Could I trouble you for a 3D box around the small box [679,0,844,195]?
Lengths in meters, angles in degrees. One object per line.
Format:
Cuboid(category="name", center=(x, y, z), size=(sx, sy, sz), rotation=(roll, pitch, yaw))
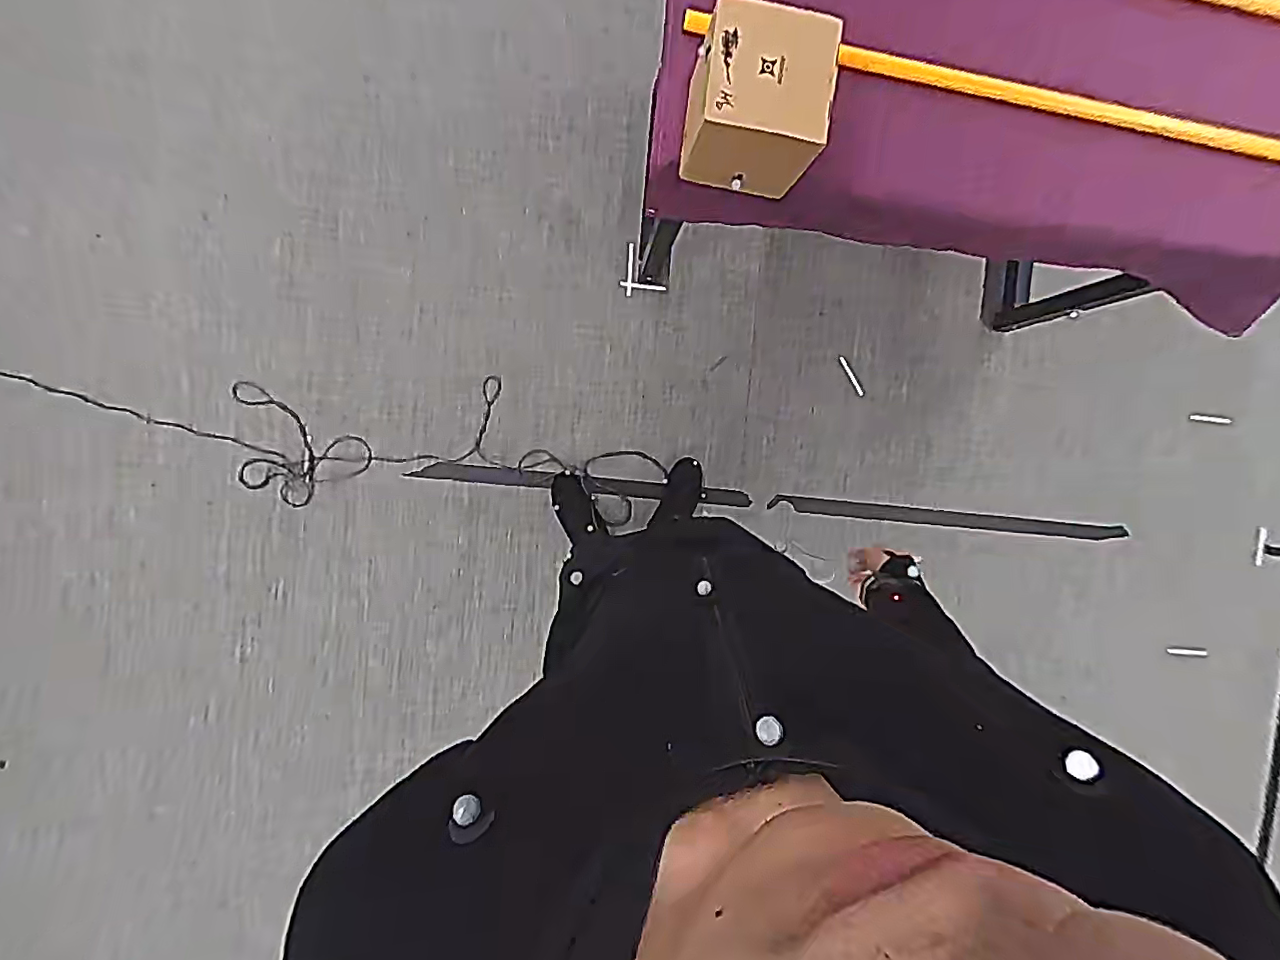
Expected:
Cuboid(category="small box", center=(0.168, -0.547, 0.796), size=(0.179, 0.176, 0.168), rotation=(7, 93, -8))
